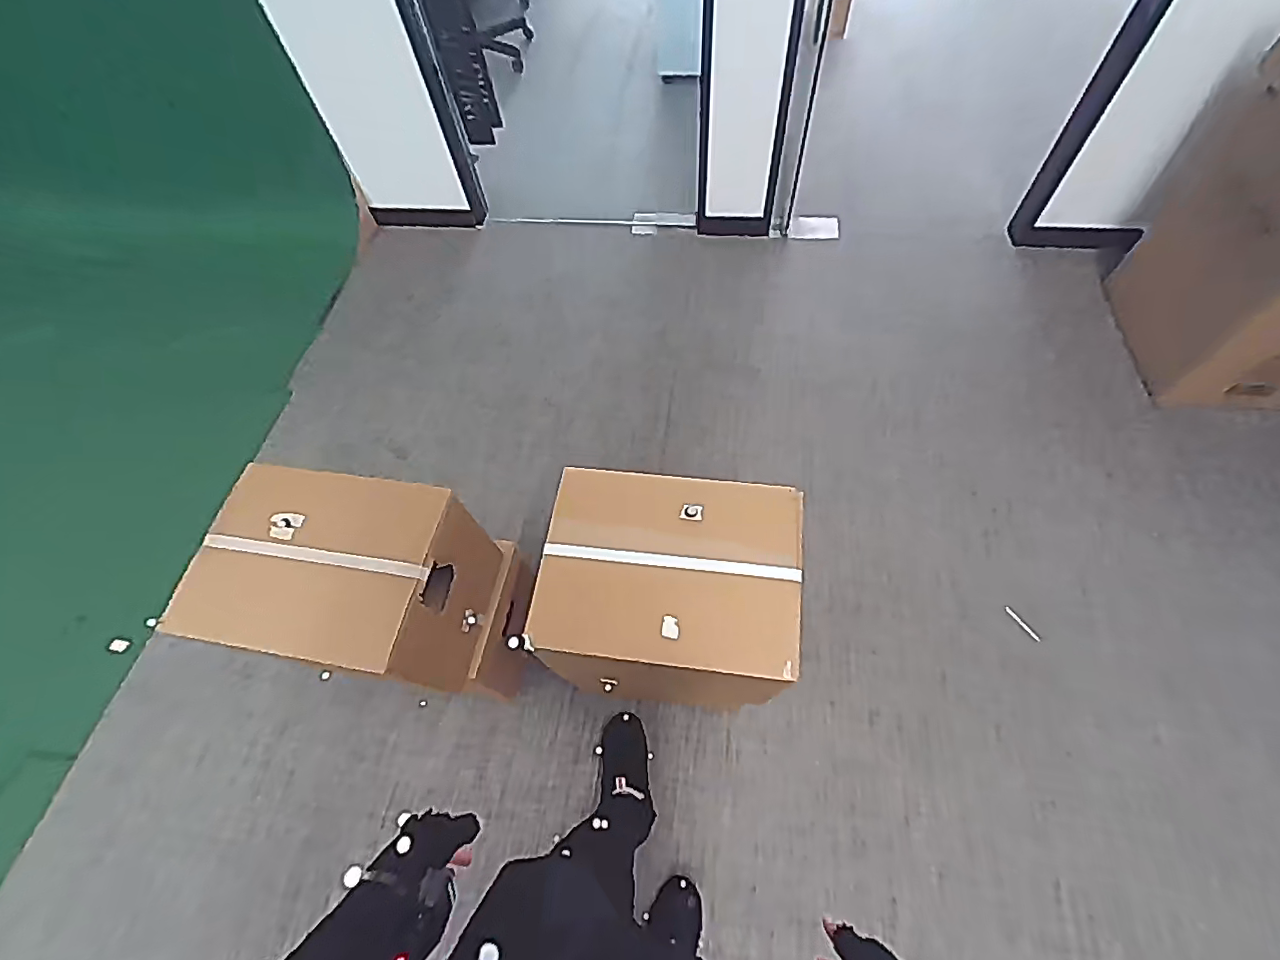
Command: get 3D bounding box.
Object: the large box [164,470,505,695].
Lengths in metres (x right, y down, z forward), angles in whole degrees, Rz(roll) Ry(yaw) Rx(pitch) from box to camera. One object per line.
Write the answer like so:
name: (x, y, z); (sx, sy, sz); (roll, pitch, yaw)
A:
large box: (-0.525, 0.204, 1.026); (0.408, 0.320, 0.320); (7, 63, 10)
